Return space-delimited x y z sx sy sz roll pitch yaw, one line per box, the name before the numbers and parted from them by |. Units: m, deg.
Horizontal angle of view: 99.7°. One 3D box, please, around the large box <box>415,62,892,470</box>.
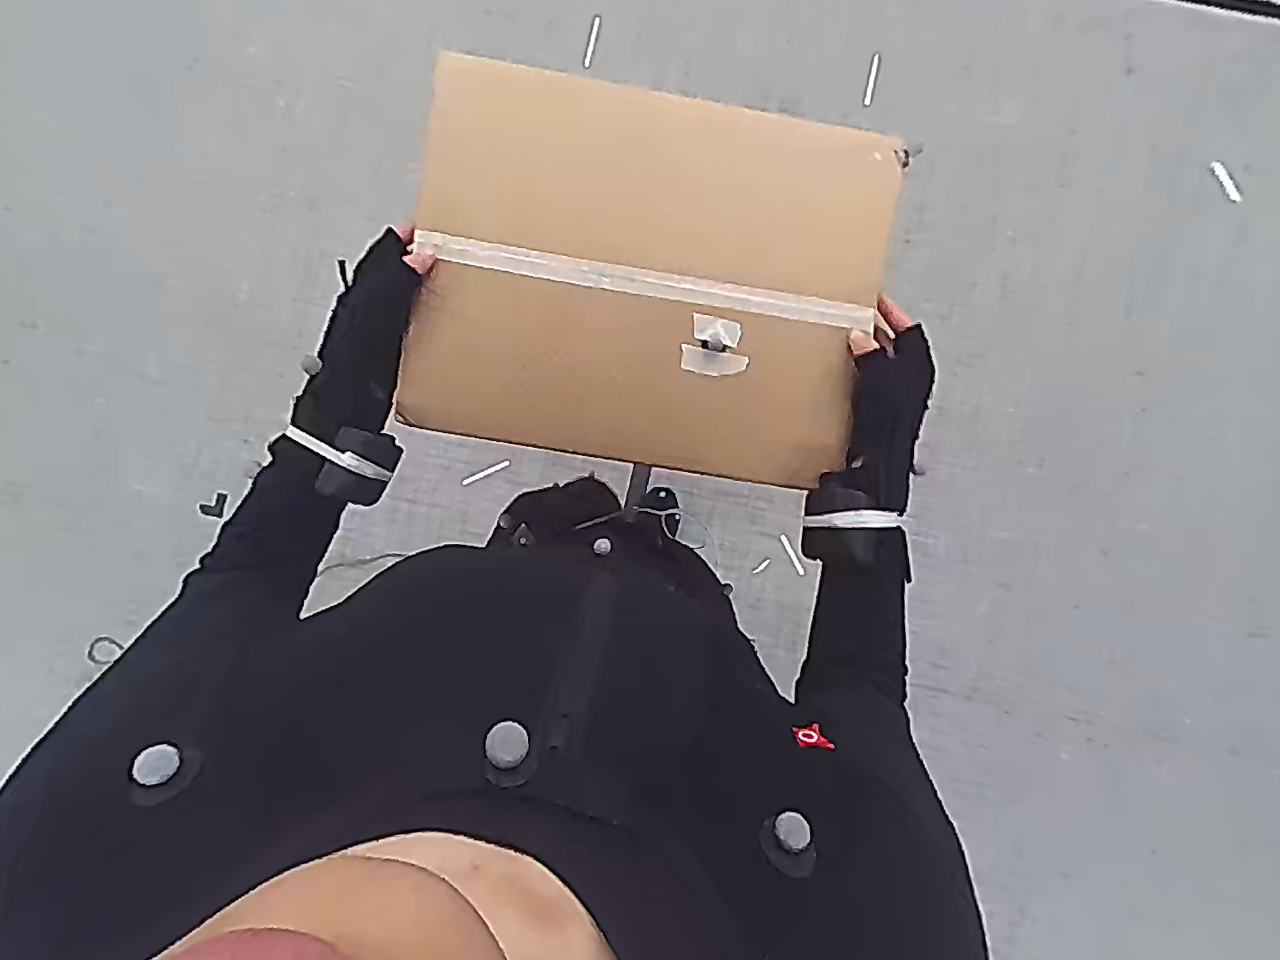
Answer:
large box | 0.003 -0.199 0.633 0.408 0.320 0.320 8 96 -3
